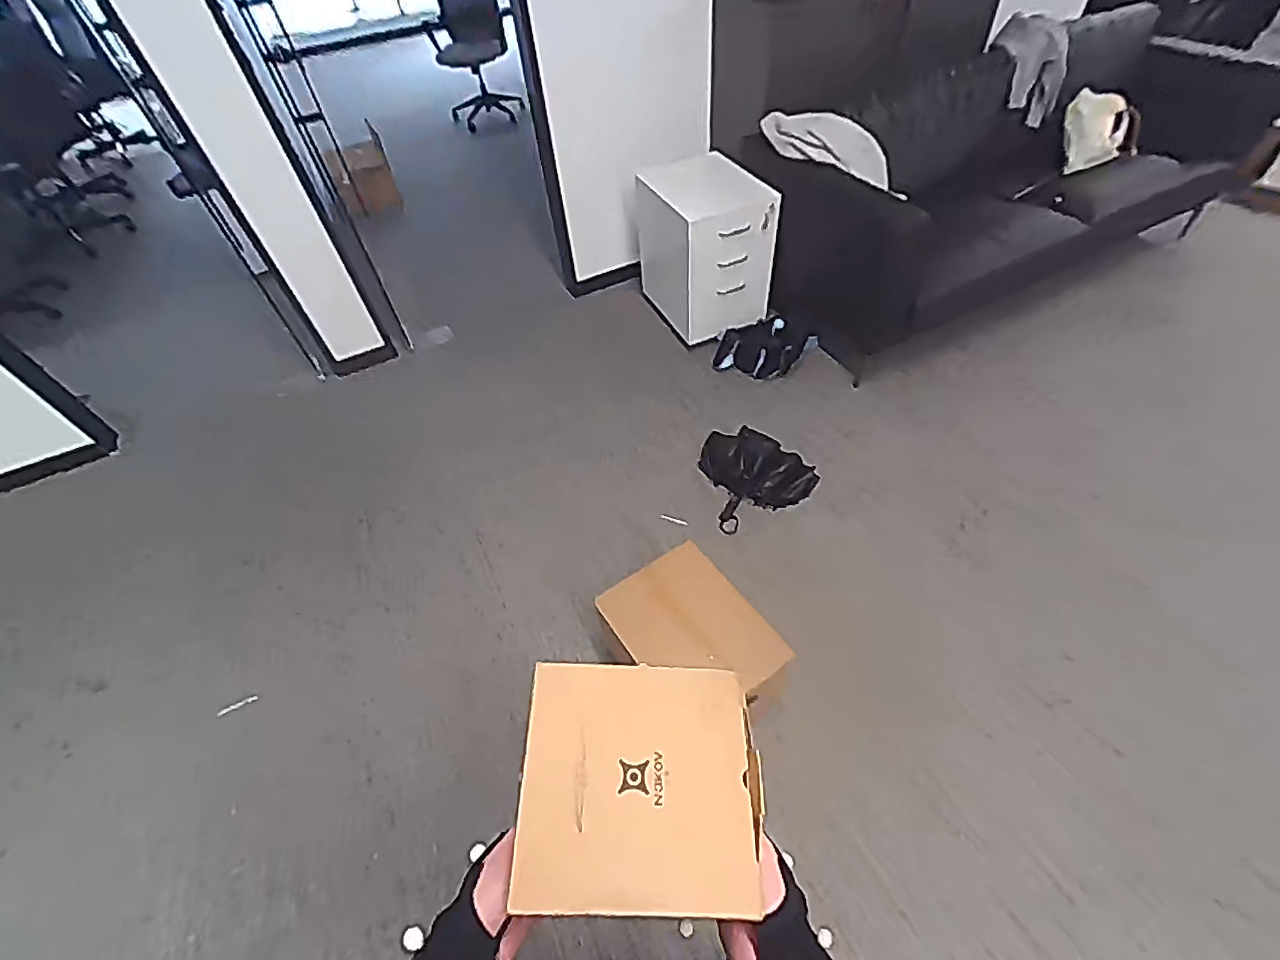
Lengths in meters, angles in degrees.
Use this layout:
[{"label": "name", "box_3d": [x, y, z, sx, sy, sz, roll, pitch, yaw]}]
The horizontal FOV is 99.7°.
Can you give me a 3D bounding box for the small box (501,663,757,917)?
[{"label": "small box", "box_3d": [-0.010, 0.268, 0.472, 0.179, 0.176, 0.168, 2, 55, -2]}]
